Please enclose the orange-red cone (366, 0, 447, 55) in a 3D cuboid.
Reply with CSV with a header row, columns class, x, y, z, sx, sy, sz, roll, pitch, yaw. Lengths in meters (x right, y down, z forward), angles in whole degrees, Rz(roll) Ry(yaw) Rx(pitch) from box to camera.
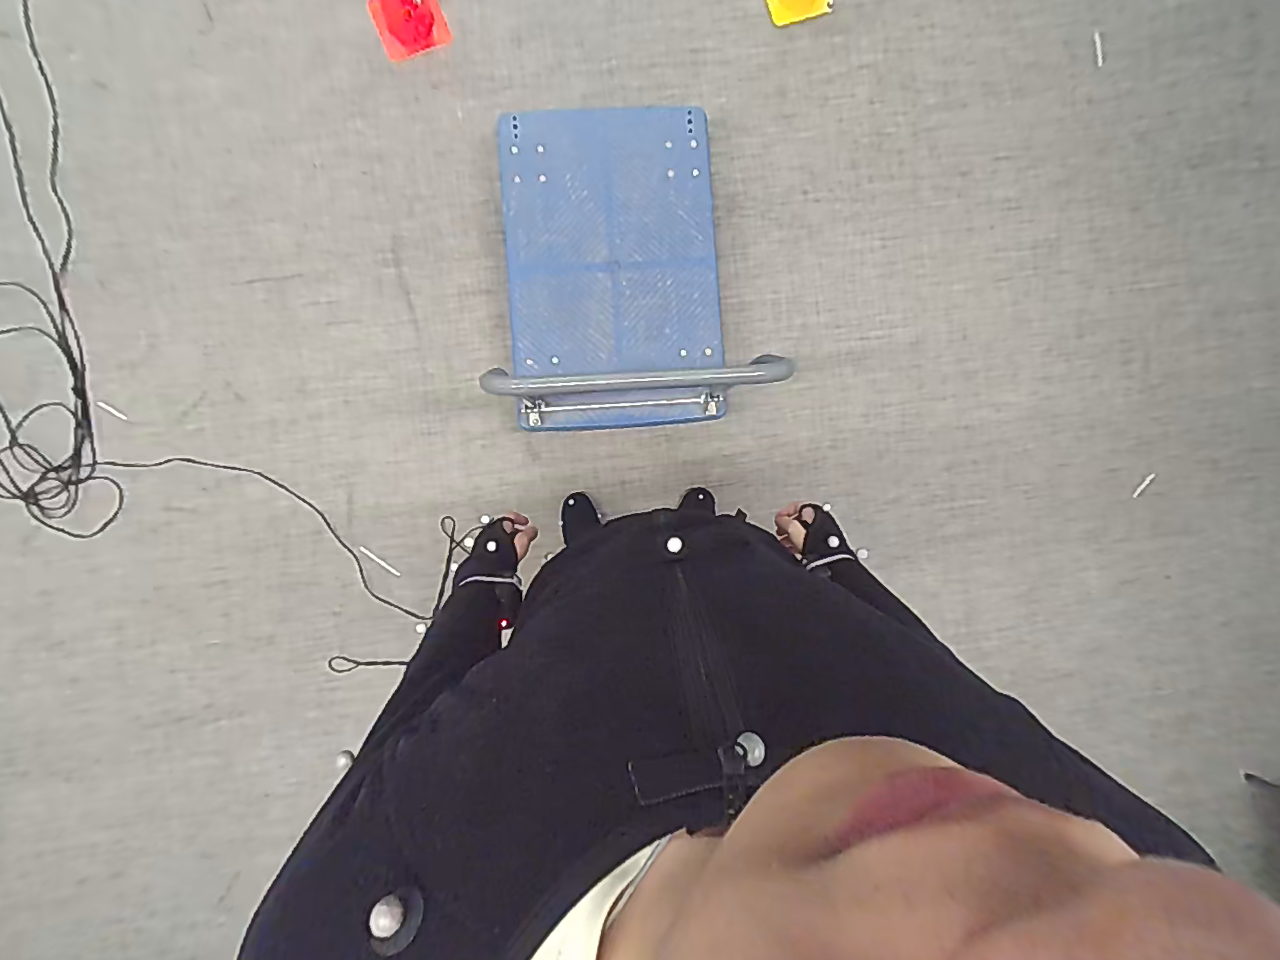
class,x,y,z,sx,sy,sz,roll,pitch,yaw
orange-red cone,-0.689,-1.381,1.439,0.199,0.360,0.198,-22,90,-2
